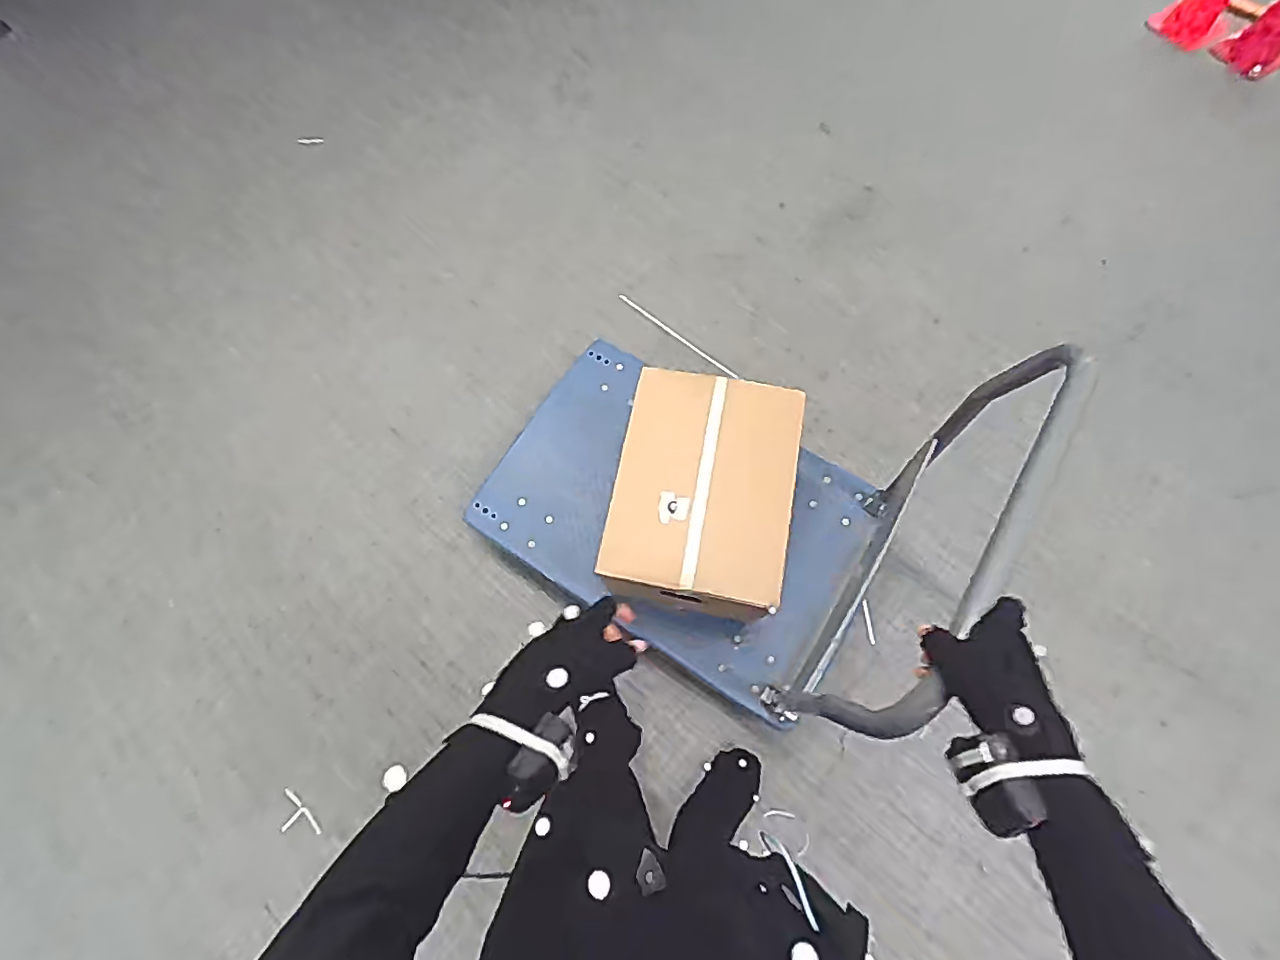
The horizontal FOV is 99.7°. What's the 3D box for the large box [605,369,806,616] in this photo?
[{"bbox_3d":[0.129,0.040,1.102,0.320,0.320,0.408,10,74,6],"label":"large box"}]
